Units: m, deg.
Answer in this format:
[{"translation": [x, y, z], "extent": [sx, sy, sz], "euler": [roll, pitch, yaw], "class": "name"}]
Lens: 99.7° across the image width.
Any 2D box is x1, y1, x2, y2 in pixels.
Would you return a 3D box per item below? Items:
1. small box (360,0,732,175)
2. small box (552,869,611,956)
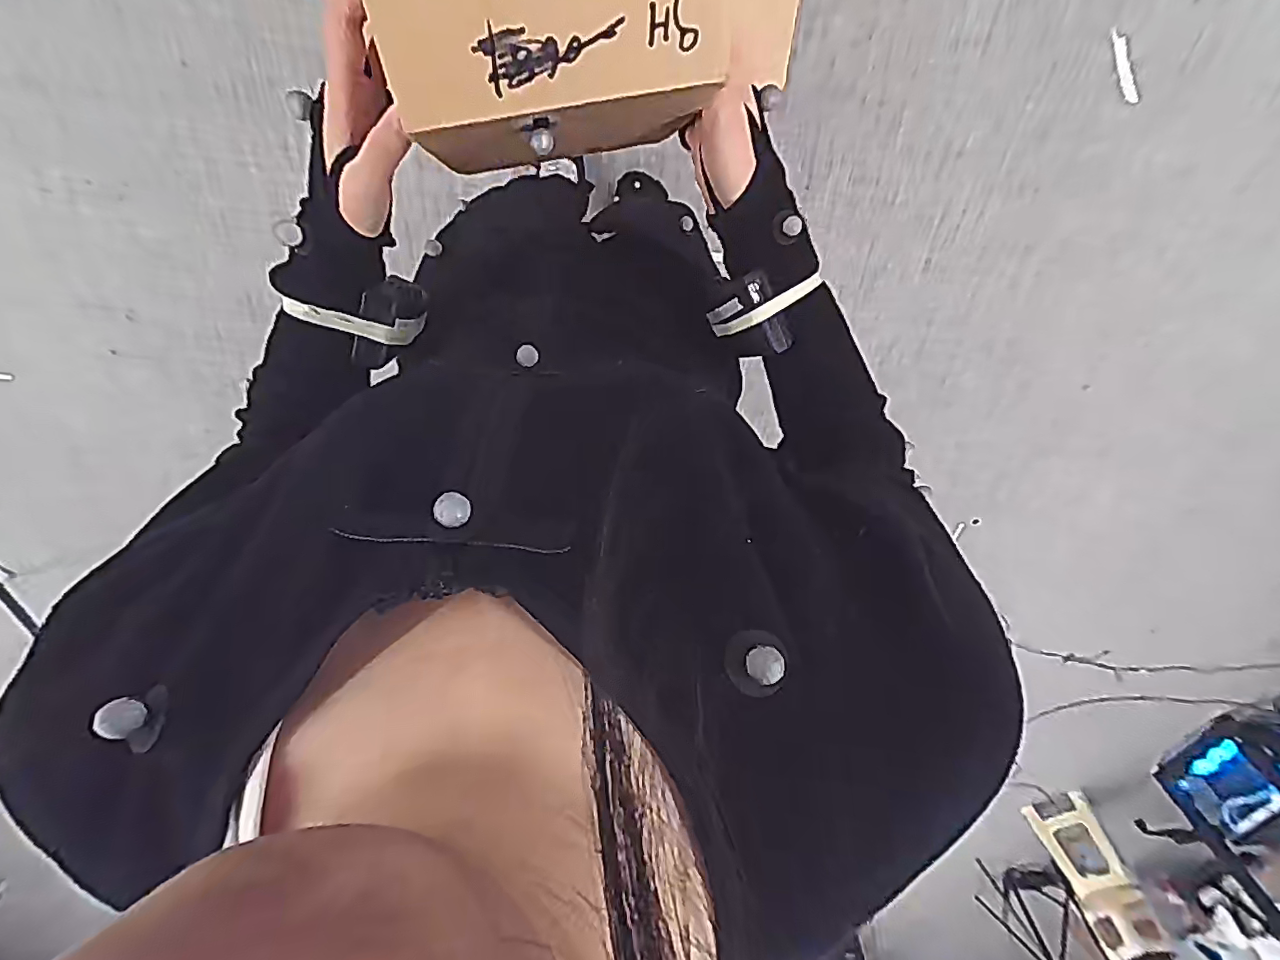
[{"translation": [-0.059, -0.288, 0.297], "extent": [0.168, 0.176, 0.179], "euler": [-12, 114, -3], "class": "small box"}, {"translation": [-0.177, 1.324, 1.654], "extent": [0.168, 0.176, 0.179], "euler": [4, 125, -6], "class": "small box"}]
